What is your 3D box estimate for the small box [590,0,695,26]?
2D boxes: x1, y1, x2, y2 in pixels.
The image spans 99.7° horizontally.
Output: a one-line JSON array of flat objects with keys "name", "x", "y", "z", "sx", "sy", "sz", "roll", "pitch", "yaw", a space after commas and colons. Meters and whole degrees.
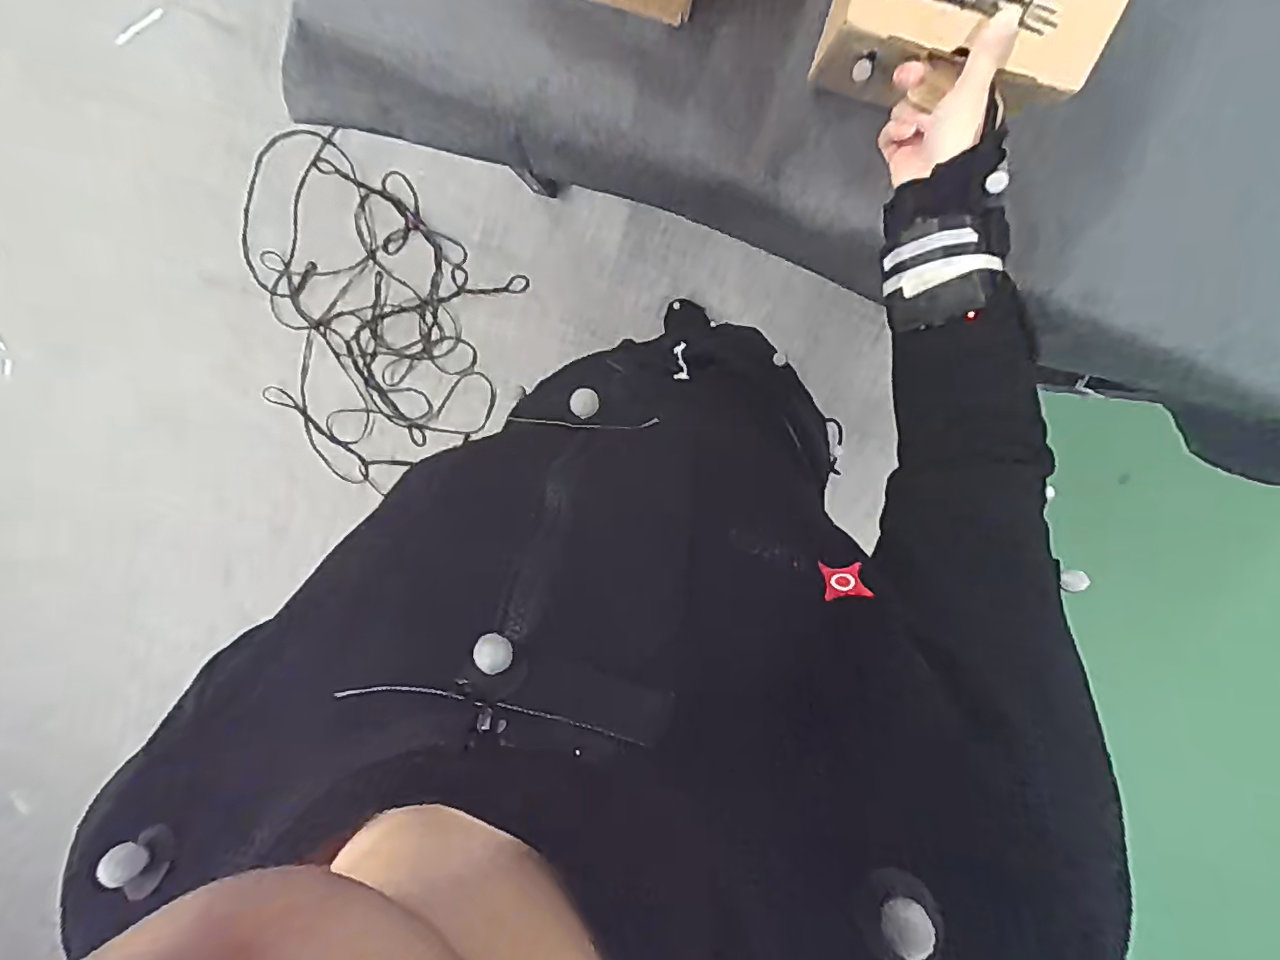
[{"name": "small box", "x": -0.013, "y": -0.513, "z": 0.414, "sx": 0.168, "sy": 0.176, "sz": 0.179, "roll": 17, "pitch": 104, "yaw": 0}]
